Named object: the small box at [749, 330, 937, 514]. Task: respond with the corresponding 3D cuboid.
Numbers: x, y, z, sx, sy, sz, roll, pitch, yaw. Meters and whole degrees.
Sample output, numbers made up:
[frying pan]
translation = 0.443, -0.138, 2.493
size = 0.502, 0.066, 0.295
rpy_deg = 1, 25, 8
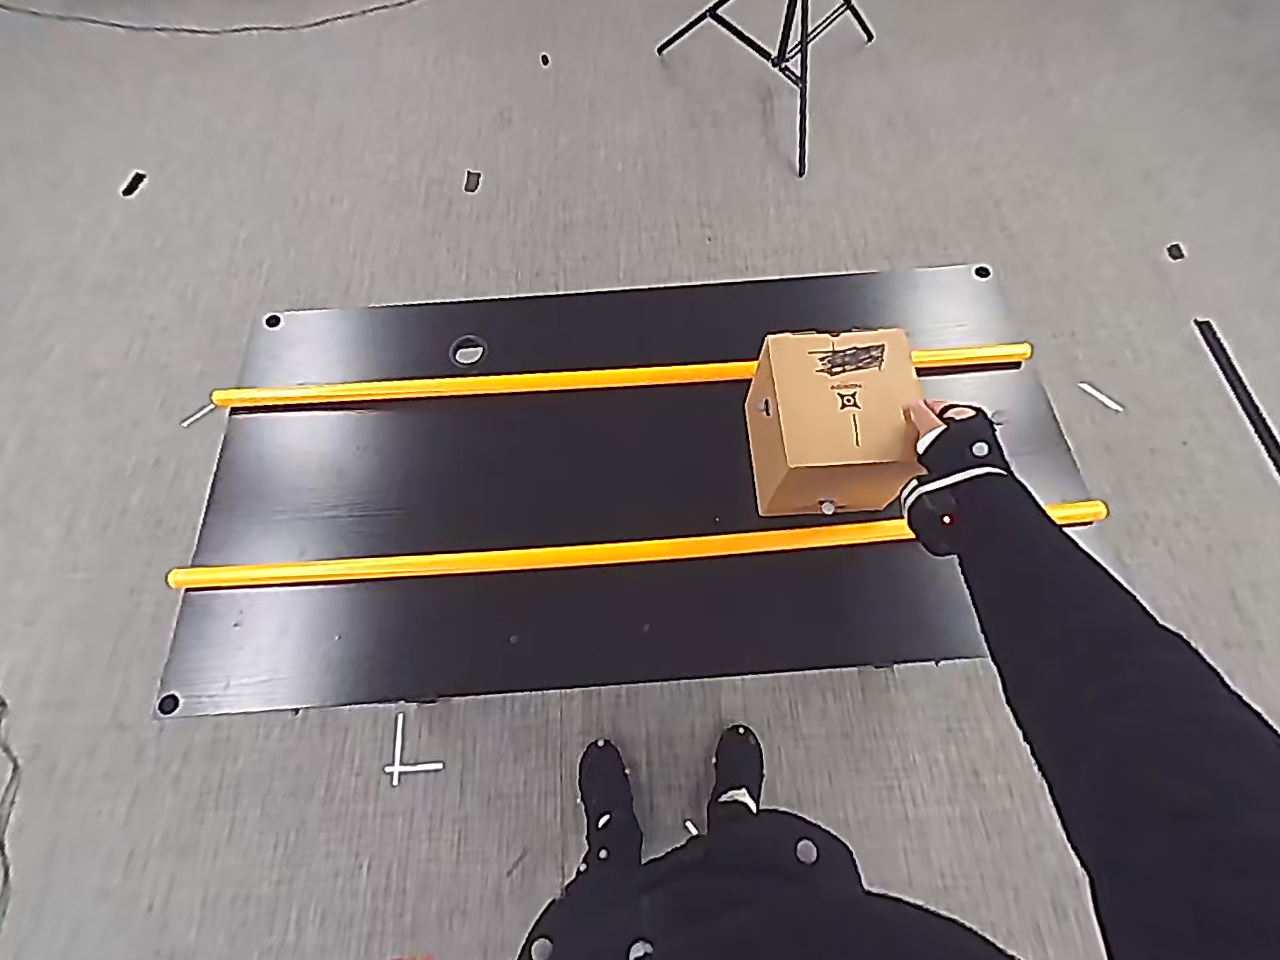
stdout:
[small box]
translation = 0.239, -0.067, 0.690
size = 0.168, 0.176, 0.179
rpy_deg = -3, 68, 1
